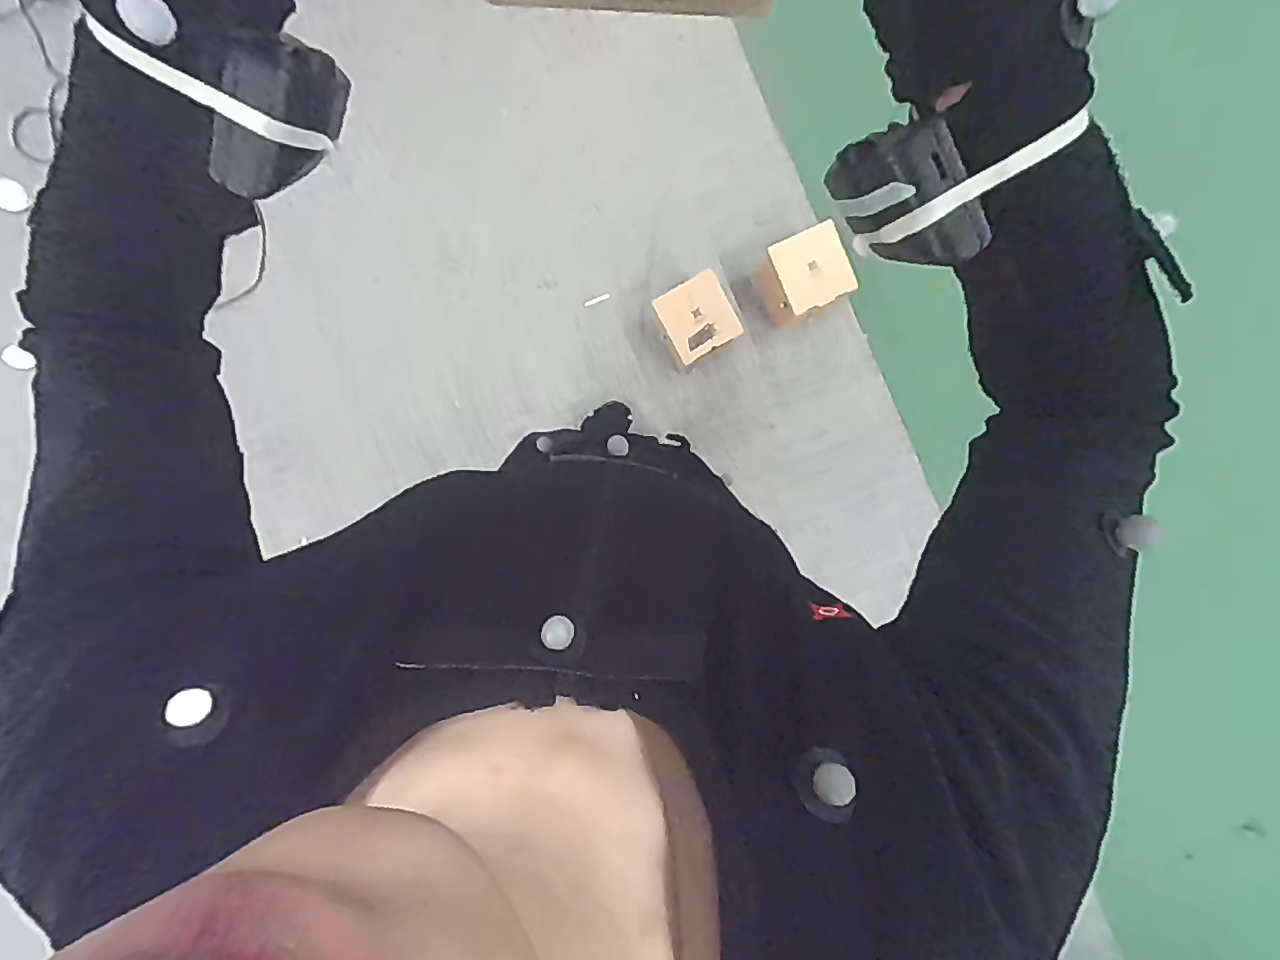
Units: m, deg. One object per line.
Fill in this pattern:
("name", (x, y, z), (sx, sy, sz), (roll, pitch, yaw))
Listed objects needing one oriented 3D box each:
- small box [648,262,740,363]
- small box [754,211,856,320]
("small box", (0.132, -0.408, 1.360), (0.168, 0.176, 0.179), (-28, 93, 3))
("small box", (0.401, -0.523, 1.347), (0.168, 0.176, 0.179), (-25, 94, 4))
